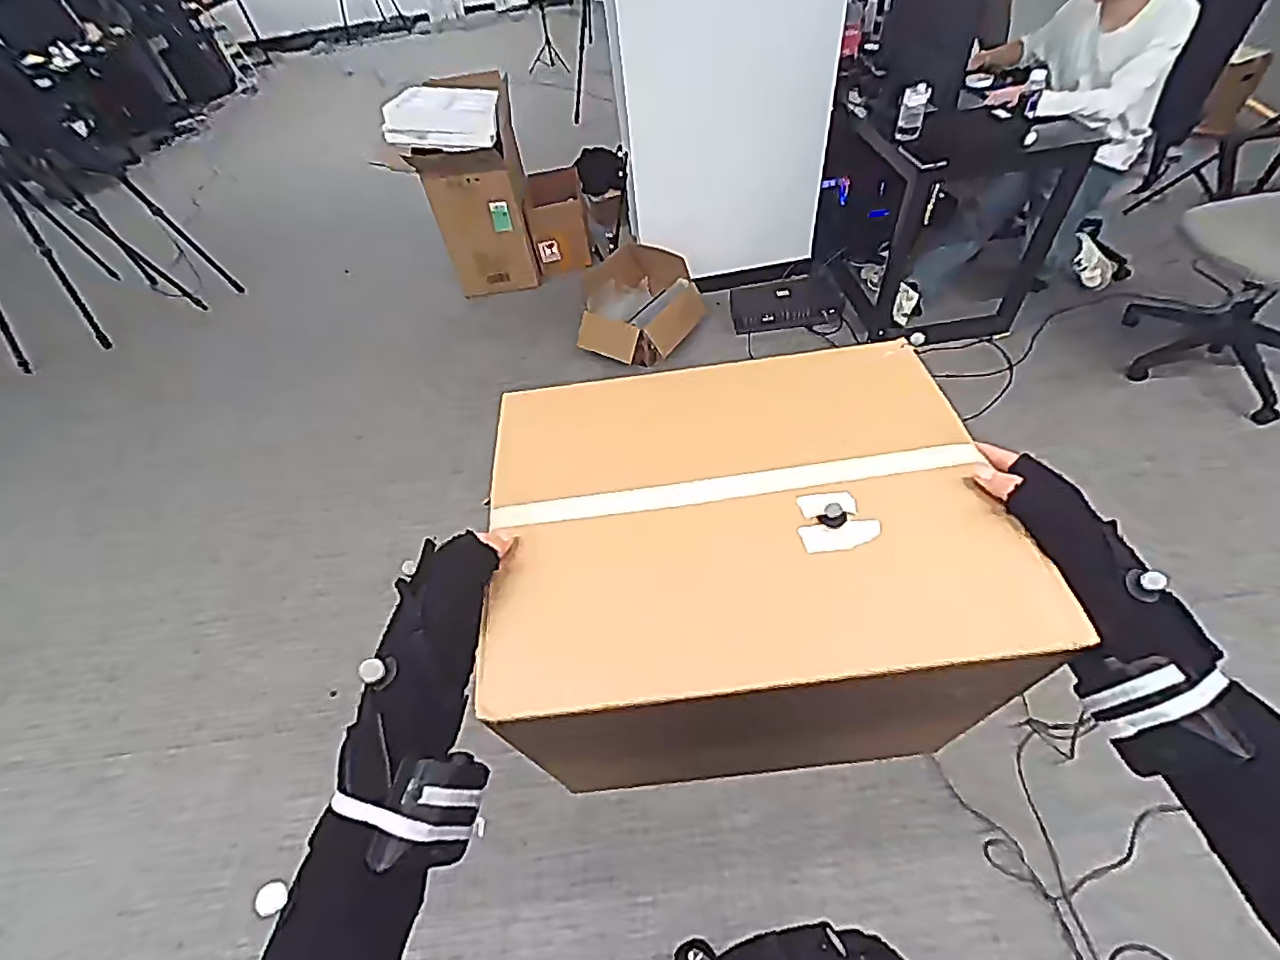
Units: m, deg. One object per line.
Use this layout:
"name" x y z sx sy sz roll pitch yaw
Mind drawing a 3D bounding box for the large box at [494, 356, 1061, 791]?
"large box" 0.091 0.109 0.577 0.408 0.320 0.320 -7 52 1
